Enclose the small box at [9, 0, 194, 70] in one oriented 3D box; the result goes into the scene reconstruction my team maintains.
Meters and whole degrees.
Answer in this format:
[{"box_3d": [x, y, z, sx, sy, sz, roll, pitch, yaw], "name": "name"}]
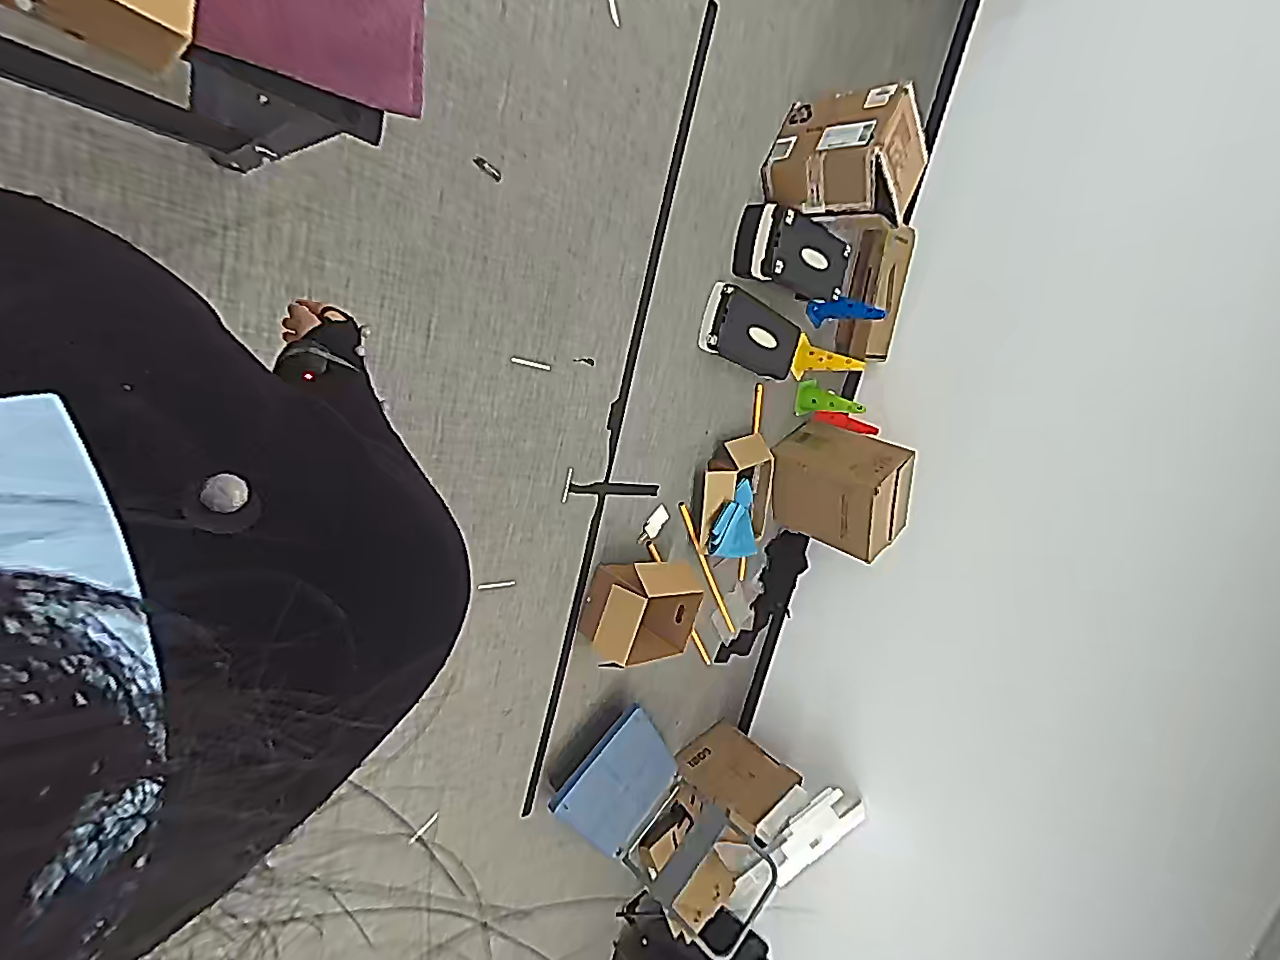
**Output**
[{"box_3d": [-0.432, -0.448, 0.394, 0.168, 0.176, 0.179, 6, 102, -49], "name": "small box"}]
